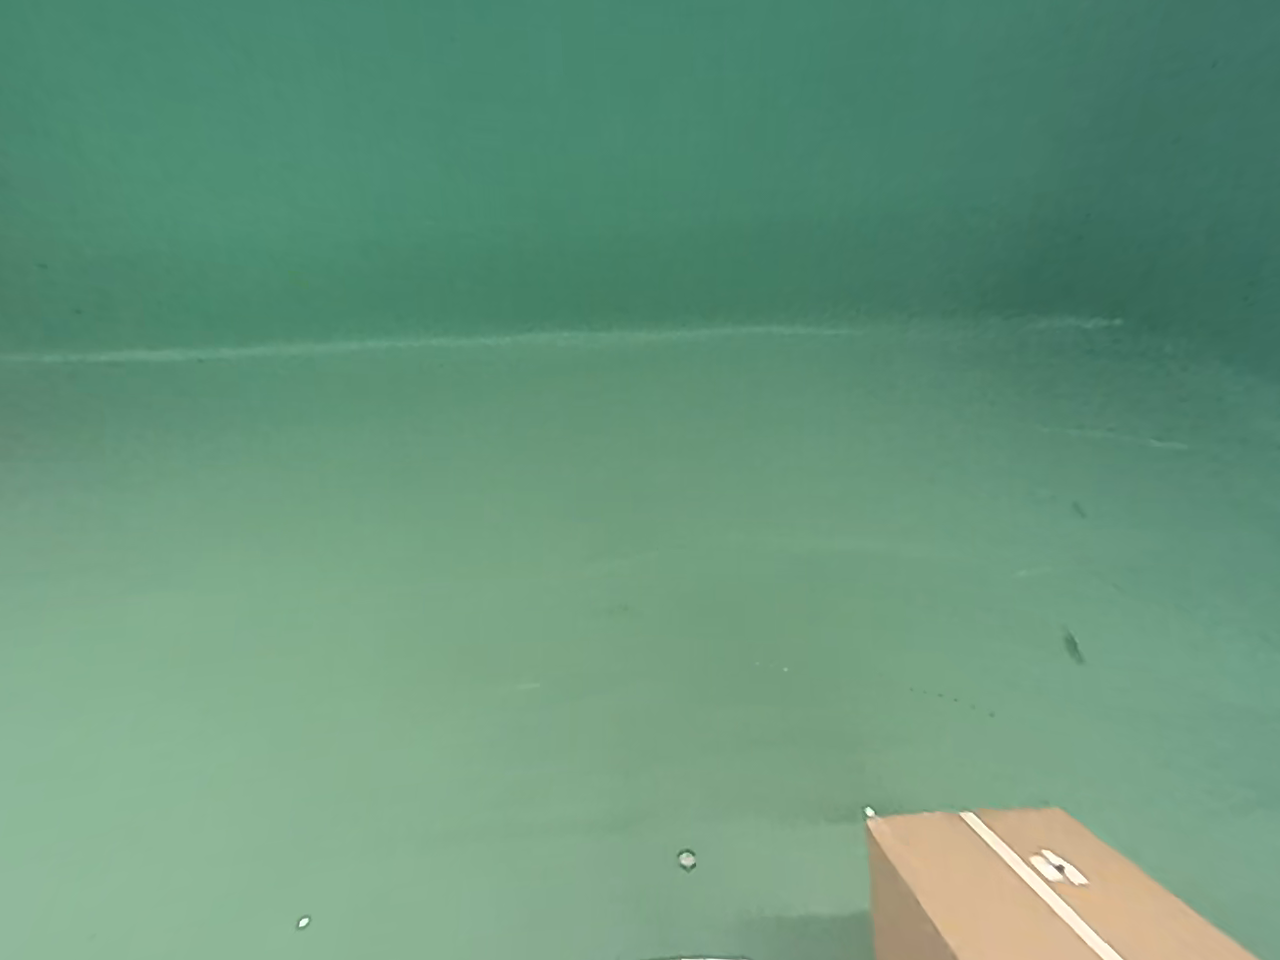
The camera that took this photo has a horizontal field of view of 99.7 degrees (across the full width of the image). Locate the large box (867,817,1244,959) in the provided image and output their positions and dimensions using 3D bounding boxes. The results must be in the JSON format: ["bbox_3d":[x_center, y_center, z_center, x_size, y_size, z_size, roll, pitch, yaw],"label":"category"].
[{"bbox_3d":[0.523,0.690,0.661,0.320,0.408,0.320,-2,87,0],"label":"large box"}]
